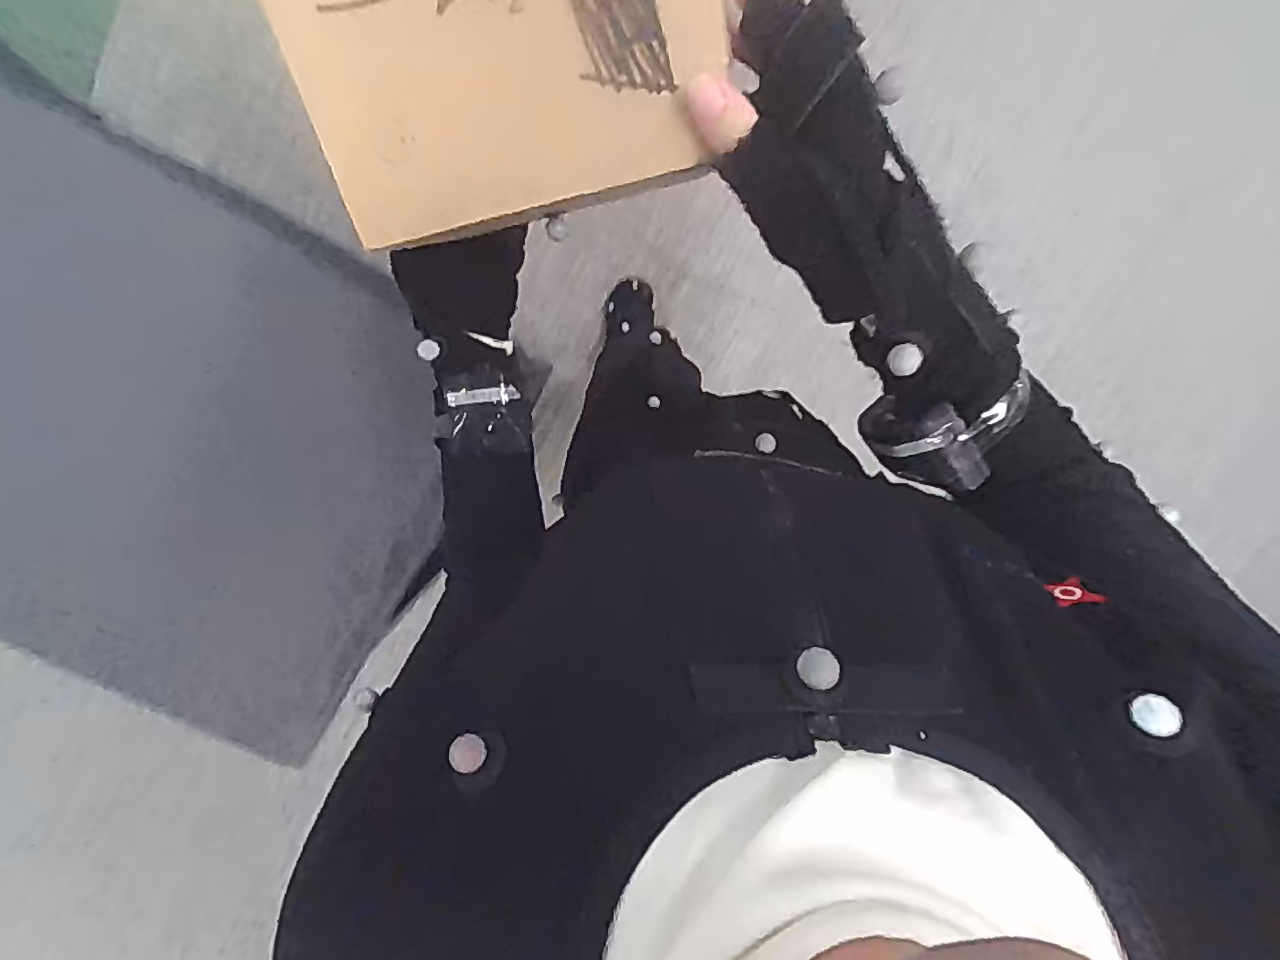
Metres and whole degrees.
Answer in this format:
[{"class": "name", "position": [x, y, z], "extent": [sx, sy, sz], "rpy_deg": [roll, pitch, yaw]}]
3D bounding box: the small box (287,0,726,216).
[{"class": "small box", "position": [-0.062, -0.251, 0.288], "extent": [0.179, 0.176, 0.168], "rpy_deg": [-11, 115, 6]}]
